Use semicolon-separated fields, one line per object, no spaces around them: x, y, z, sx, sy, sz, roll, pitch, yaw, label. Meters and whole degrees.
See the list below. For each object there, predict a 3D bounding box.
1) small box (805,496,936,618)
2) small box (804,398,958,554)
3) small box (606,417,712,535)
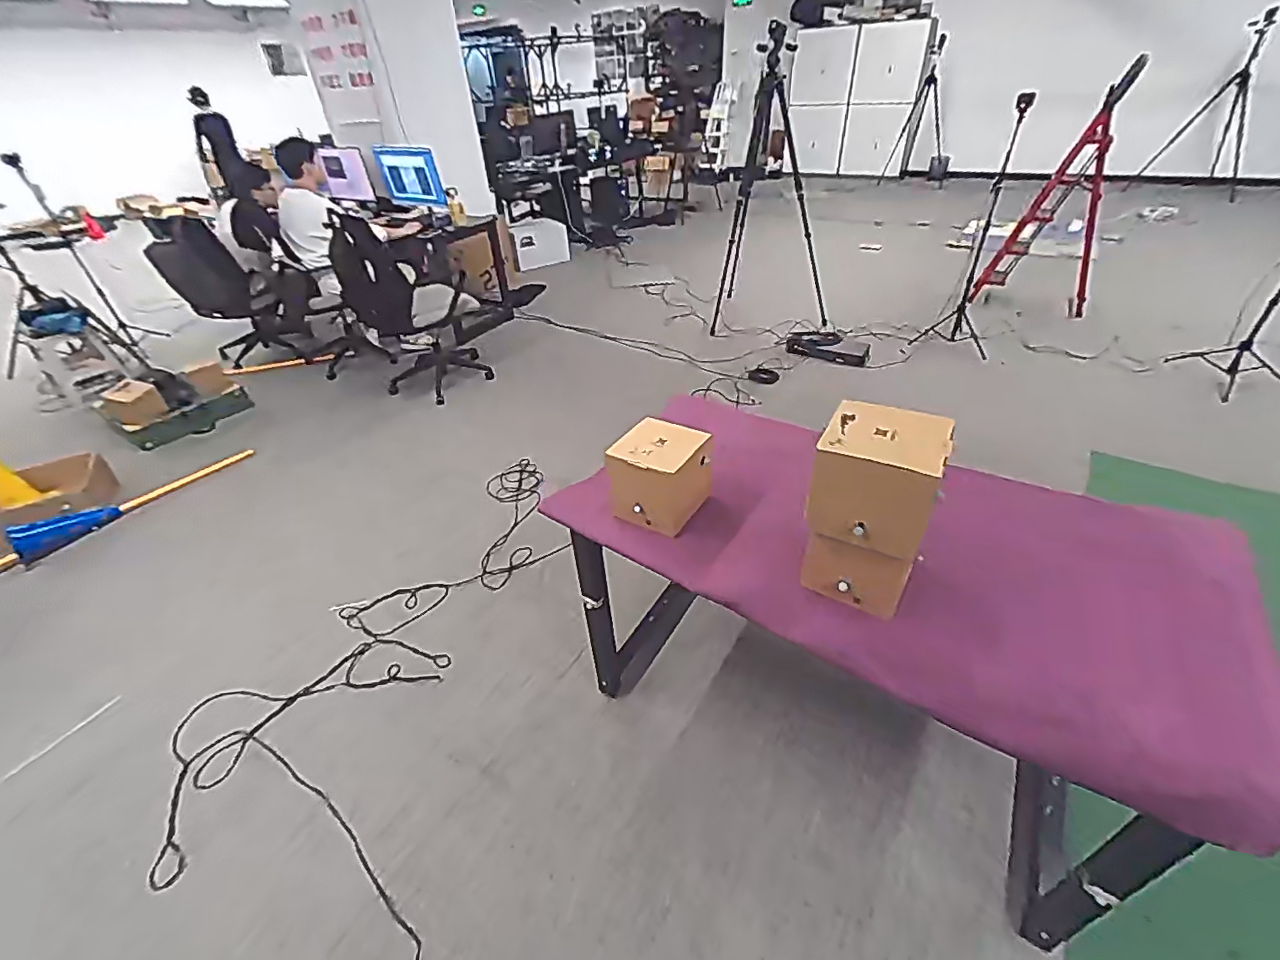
0.411;0.112;0.979;0.168;0.176;0.179;20;43;29;small box
0.380;-0.006;0.867;0.179;0.176;0.168;18;42;26;small box
0.043;-0.012;1.175;0.168;0.176;0.179;18;41;27;small box
